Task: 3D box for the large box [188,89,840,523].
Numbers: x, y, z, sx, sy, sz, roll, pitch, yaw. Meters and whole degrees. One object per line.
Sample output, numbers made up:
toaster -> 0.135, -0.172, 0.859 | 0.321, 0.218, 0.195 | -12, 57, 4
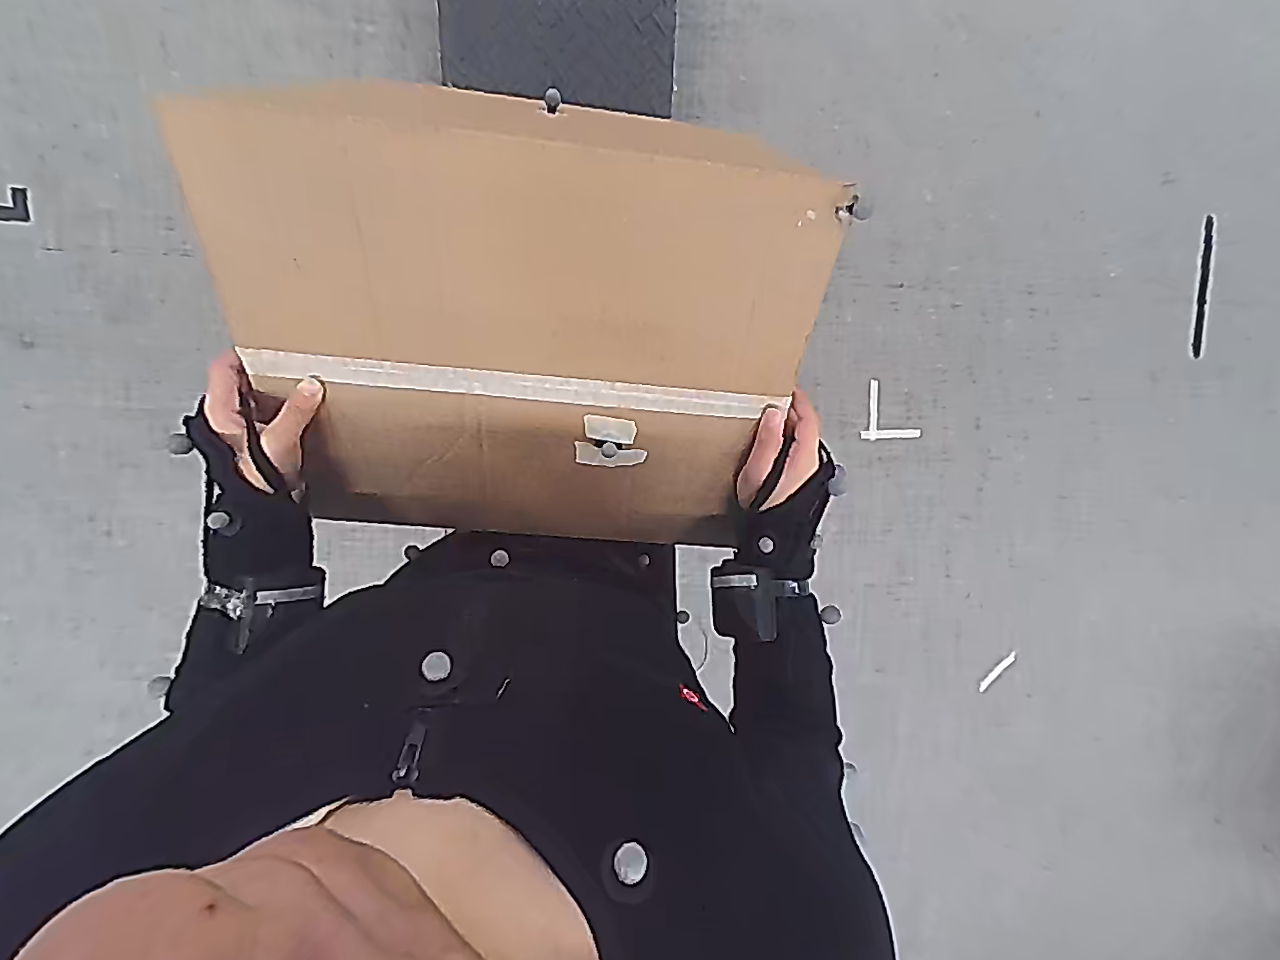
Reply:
large box -> -0.089, -0.178, 0.536 | 0.408, 0.320, 0.320 | 3, 129, -6
